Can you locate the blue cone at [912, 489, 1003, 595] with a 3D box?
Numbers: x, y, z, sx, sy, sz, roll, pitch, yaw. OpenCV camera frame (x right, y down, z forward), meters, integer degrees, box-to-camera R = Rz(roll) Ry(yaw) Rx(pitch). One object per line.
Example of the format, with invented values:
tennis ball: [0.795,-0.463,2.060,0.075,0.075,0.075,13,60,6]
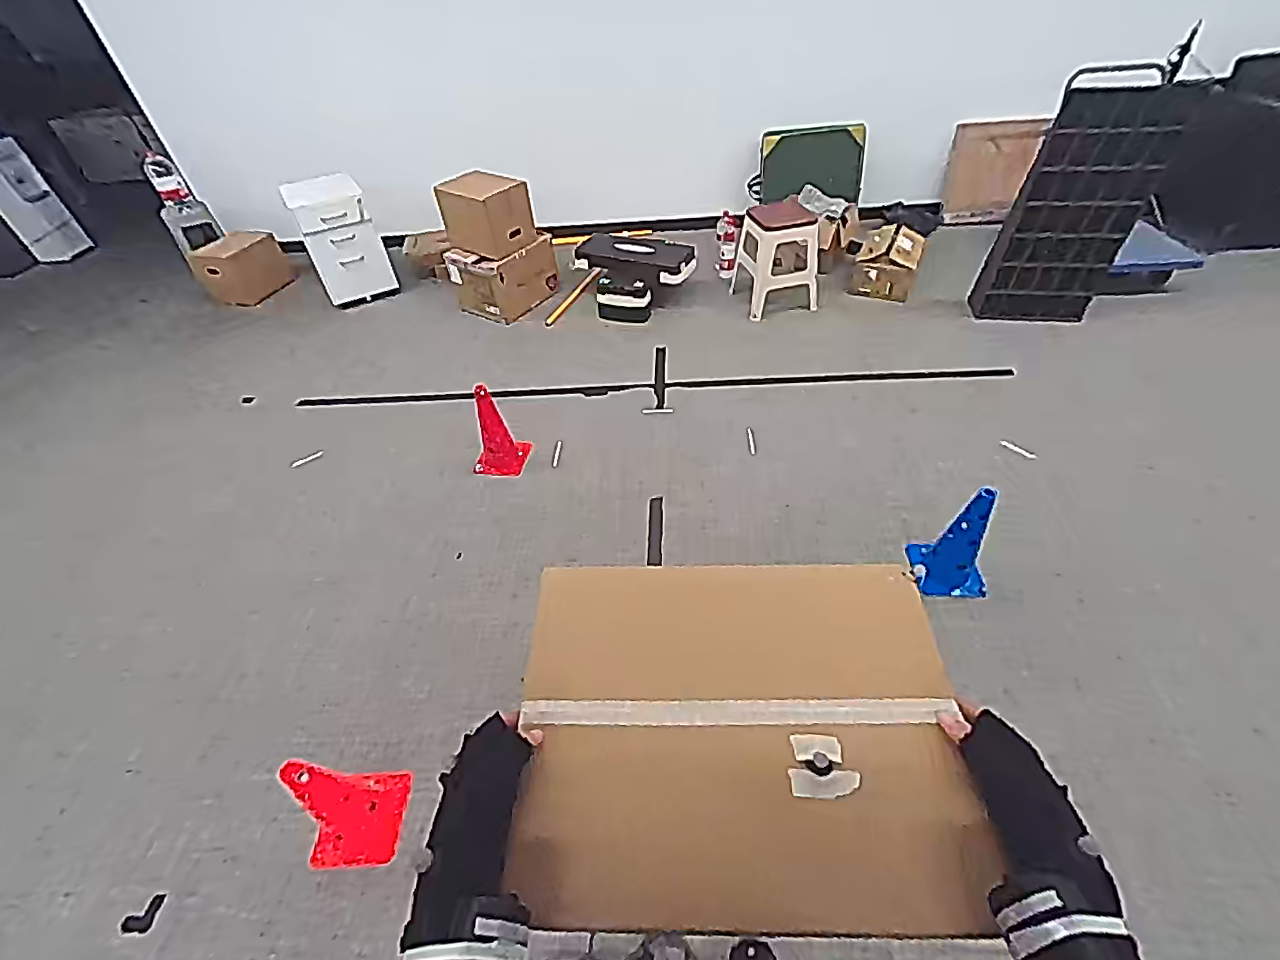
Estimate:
blue cone: [0.972,0.169,1.609,0.192,0.380,0.193,2,45,5]

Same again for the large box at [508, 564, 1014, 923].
large box: [0.096,0.311,0.627,0.408,0.320,0.320,-1,51,2]

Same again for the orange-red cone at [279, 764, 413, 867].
orange-red cone: [-0.684,0.708,1.200,0.198,0.360,0.199,-4,46,3]

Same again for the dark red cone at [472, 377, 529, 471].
dark red cone: [-0.575,-0.224,2.100,0.201,0.394,0.202,3,45,7]
